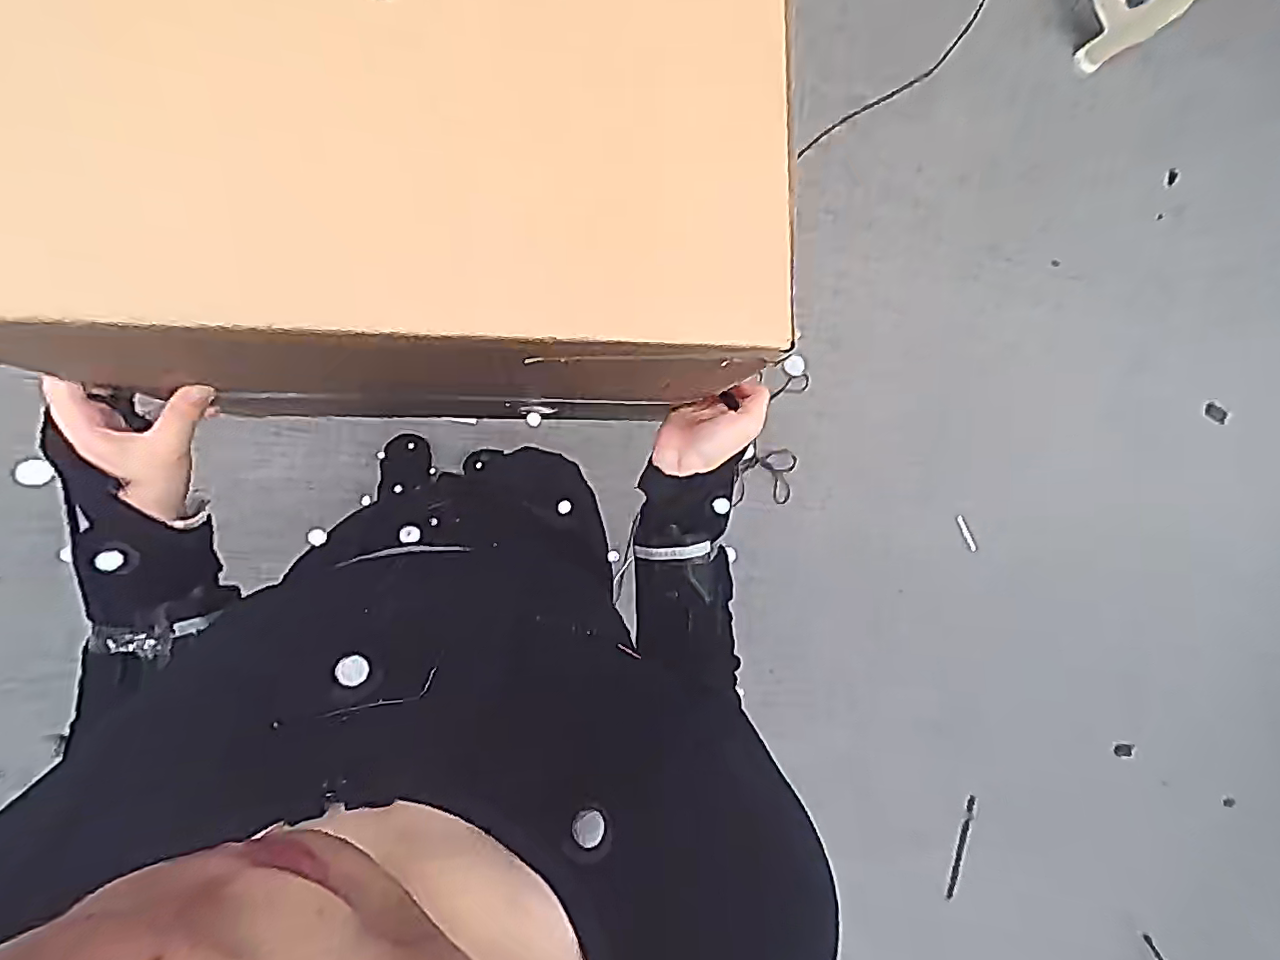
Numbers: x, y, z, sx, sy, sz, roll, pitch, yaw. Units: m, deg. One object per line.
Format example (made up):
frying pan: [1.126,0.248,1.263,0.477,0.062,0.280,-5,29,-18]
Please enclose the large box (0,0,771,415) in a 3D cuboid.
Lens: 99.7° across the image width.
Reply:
large box: [-0.160,-0.222,0.393,0.408,0.320,0.320,-3,91,-10]
